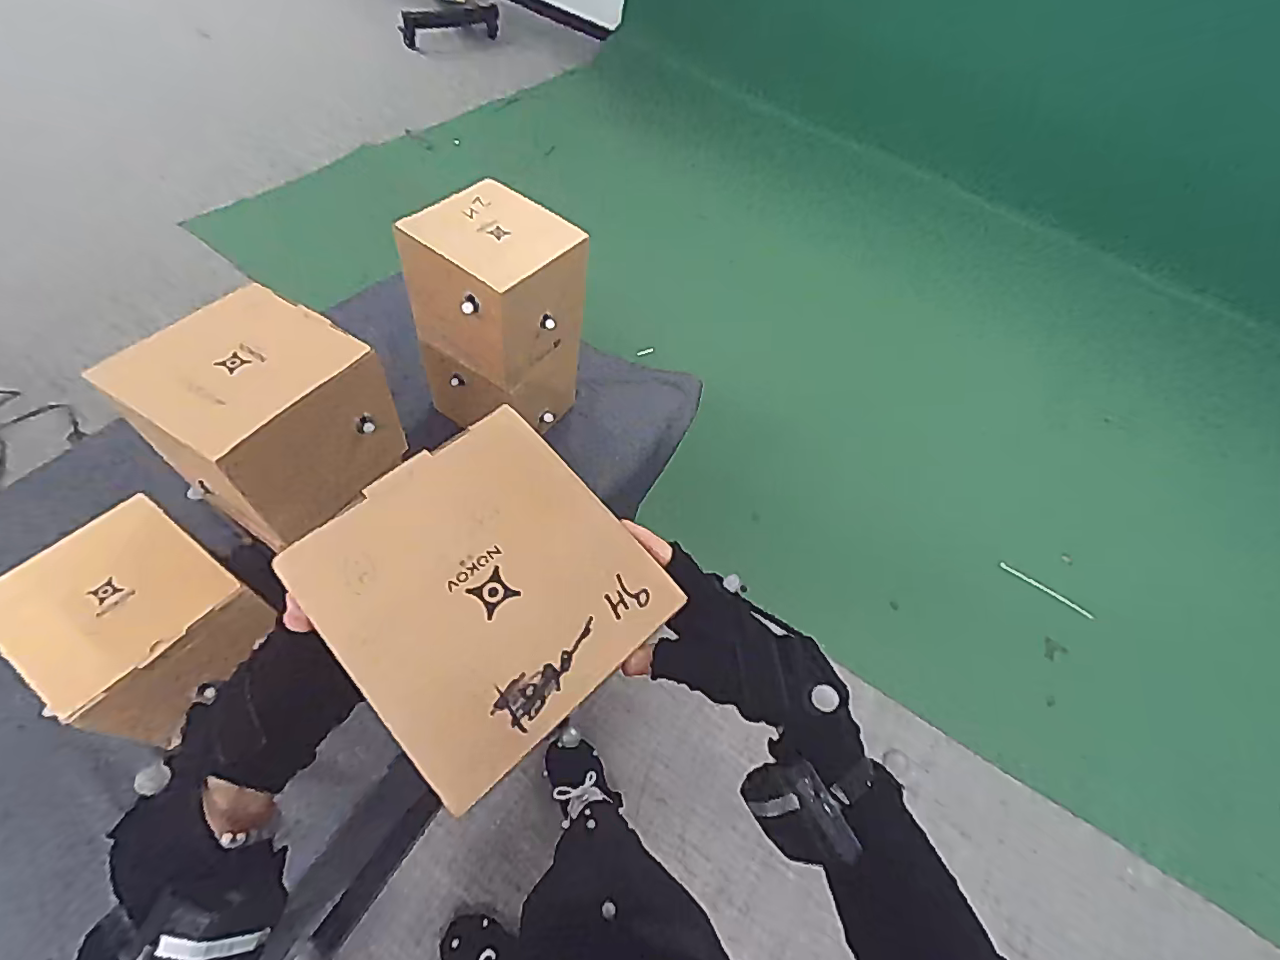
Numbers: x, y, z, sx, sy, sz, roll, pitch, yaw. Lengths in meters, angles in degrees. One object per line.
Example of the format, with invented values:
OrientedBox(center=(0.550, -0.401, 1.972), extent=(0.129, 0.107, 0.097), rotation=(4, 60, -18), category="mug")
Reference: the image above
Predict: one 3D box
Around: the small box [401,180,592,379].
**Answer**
OrientedBox(center=(-0.187, -0.265, 0.741), extent=(0.179, 0.176, 0.168), rotation=(34, 57, 13), category="small box")

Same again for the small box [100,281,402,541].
OrientedBox(center=(-0.381, -0.070, 0.576), extent=(0.168, 0.176, 0.179), rotation=(30, 57, 11), category="small box")

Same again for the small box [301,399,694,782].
OrientedBox(center=(-0.092, 0.082, 0.393), extent=(0.168, 0.176, 0.179), rotation=(-39, 76, -20), category="small box")
